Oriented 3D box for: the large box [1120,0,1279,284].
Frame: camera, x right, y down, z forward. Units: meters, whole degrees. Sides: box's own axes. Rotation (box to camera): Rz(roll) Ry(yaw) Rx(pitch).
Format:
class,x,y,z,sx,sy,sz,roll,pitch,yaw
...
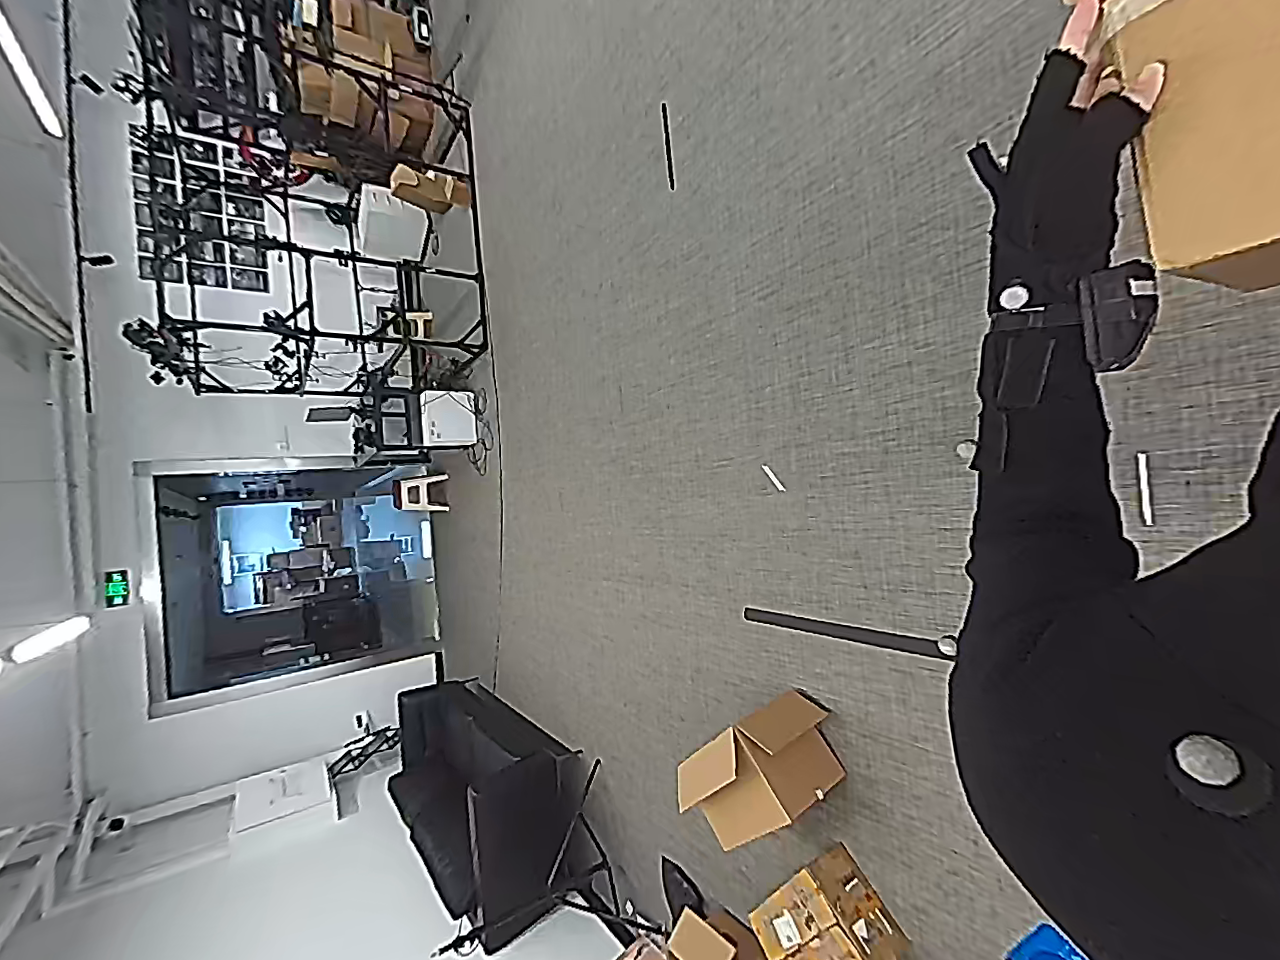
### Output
class,x,y,z,sx,sy,sz,roll,pitch,yaw
large box,0.519,-0.324,0.250,0.408,0.320,0.320,-9,92,54
